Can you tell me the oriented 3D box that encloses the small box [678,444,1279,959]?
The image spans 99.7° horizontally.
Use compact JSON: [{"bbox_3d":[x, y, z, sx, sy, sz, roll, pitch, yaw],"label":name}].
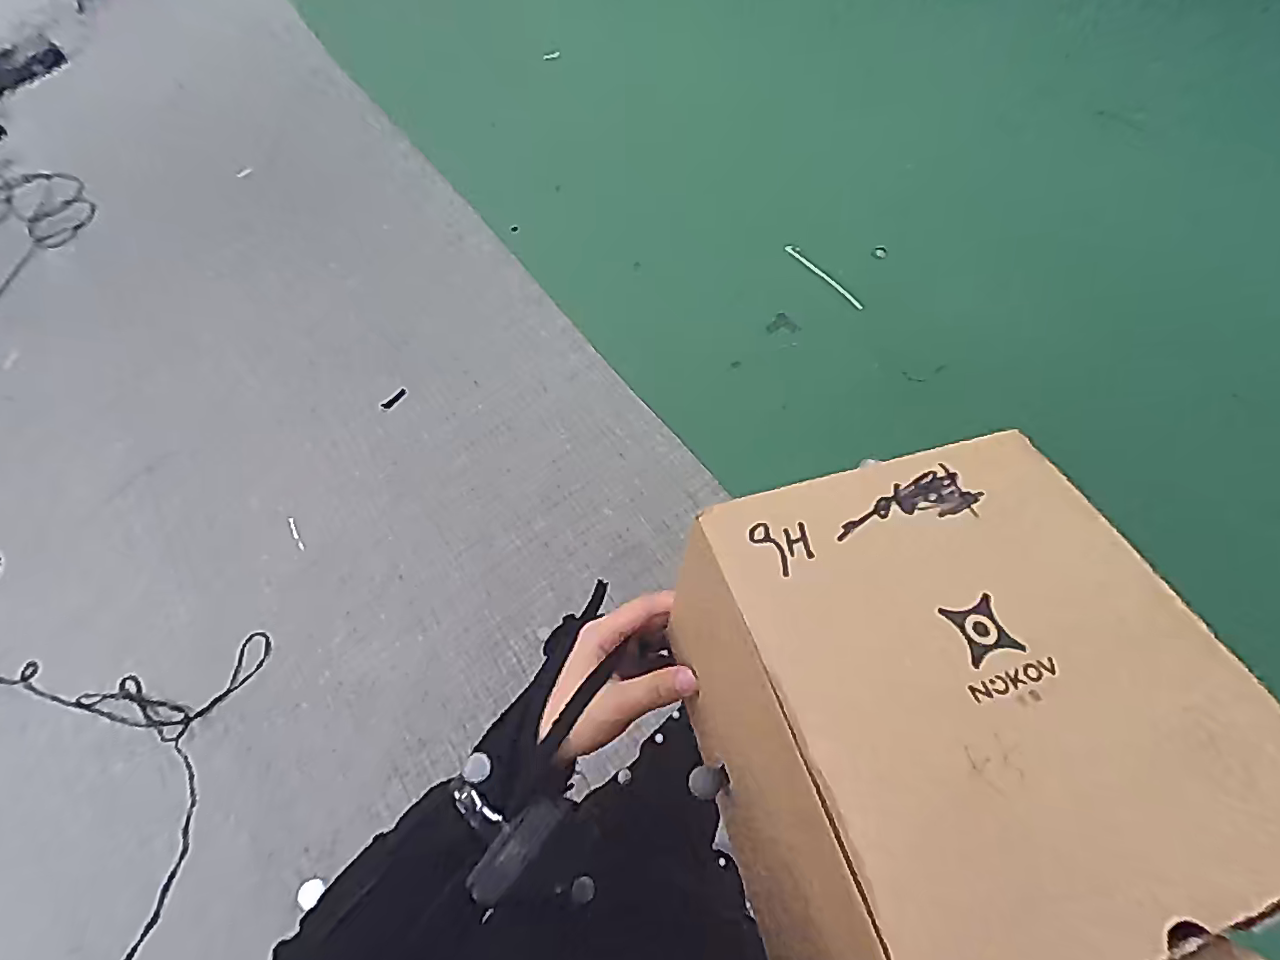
[{"bbox_3d":[0.125,0.113,0.264,0.168,0.176,0.179,-12,57,-11],"label":"small box"}]
